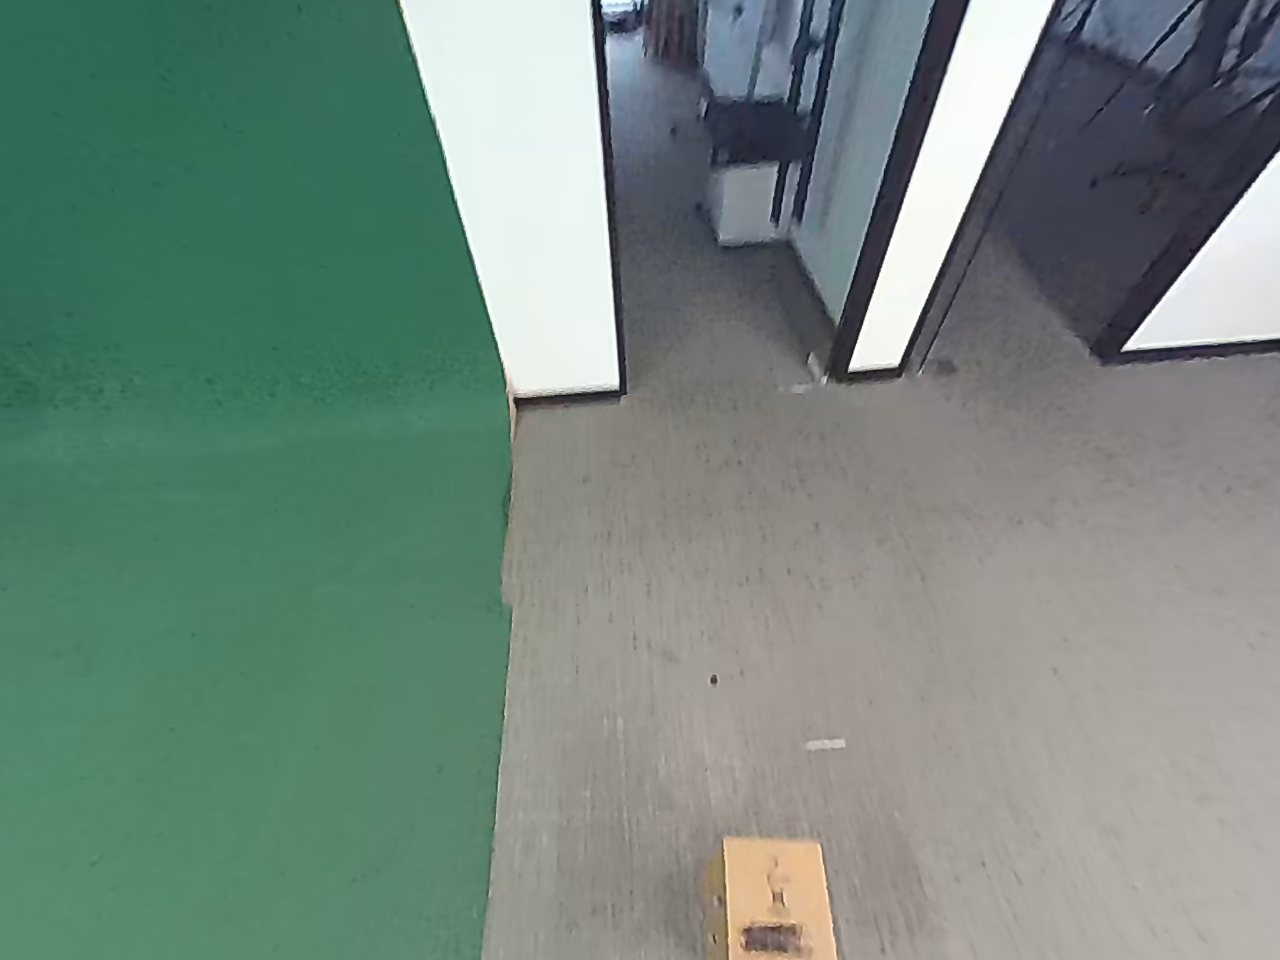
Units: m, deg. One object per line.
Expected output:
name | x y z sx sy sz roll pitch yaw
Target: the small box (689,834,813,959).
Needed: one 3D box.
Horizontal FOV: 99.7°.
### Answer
small box | 0.208 0.835 1.051 0.179 0.176 0.168 26 57 22
